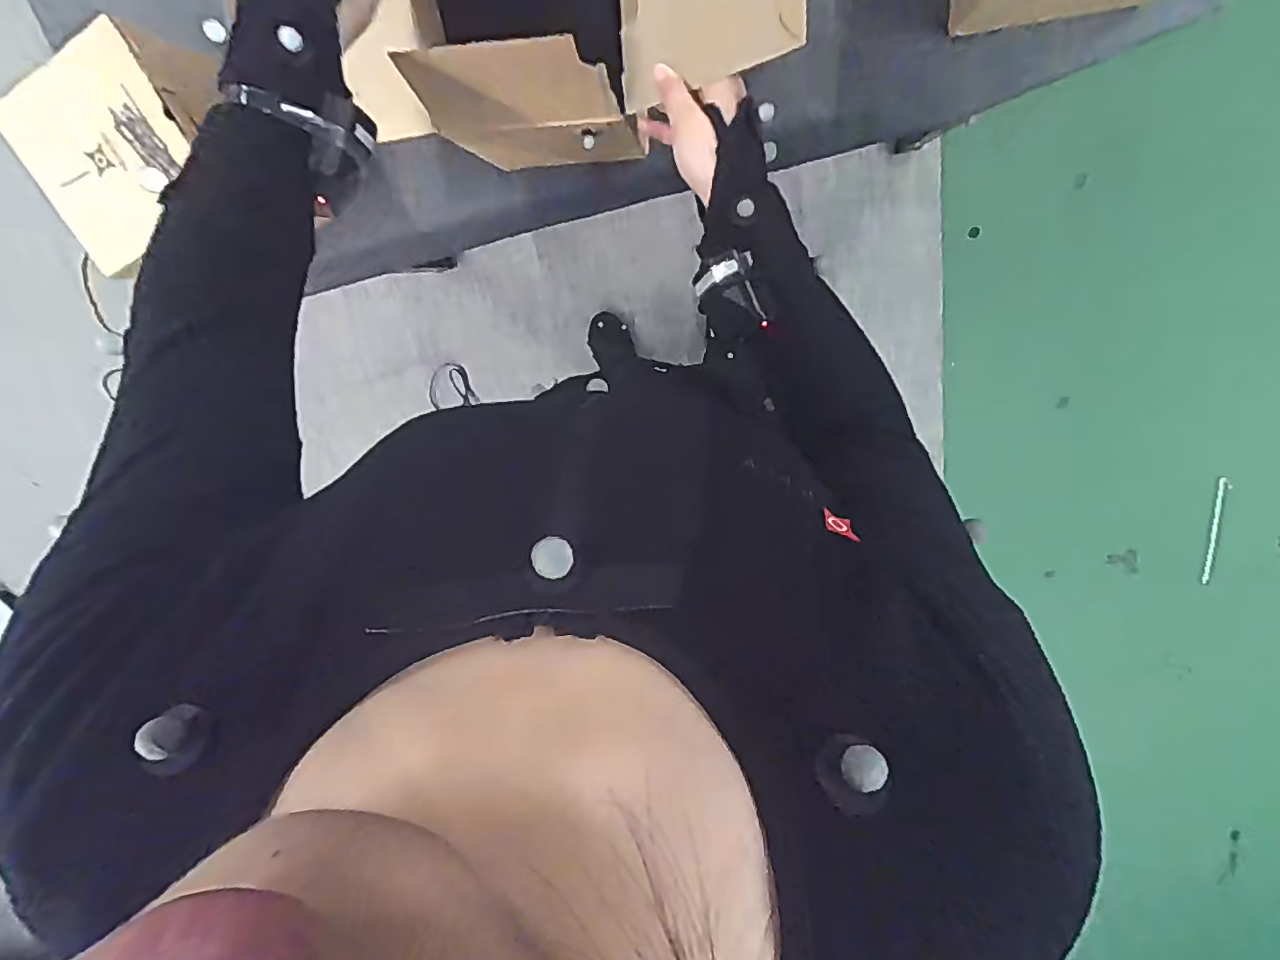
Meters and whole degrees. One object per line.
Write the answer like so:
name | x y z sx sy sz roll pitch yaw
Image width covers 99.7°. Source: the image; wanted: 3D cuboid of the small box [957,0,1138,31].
small box | 0.372 -0.492 0.419 0.179 0.176 0.168 -3 107 9

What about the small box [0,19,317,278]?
small box | -0.495 -0.338 0.588 0.179 0.176 0.168 -20 109 14

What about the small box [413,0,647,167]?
small box | -0.092 -0.410 0.515 0.179 0.176 0.168 -1 111 7
